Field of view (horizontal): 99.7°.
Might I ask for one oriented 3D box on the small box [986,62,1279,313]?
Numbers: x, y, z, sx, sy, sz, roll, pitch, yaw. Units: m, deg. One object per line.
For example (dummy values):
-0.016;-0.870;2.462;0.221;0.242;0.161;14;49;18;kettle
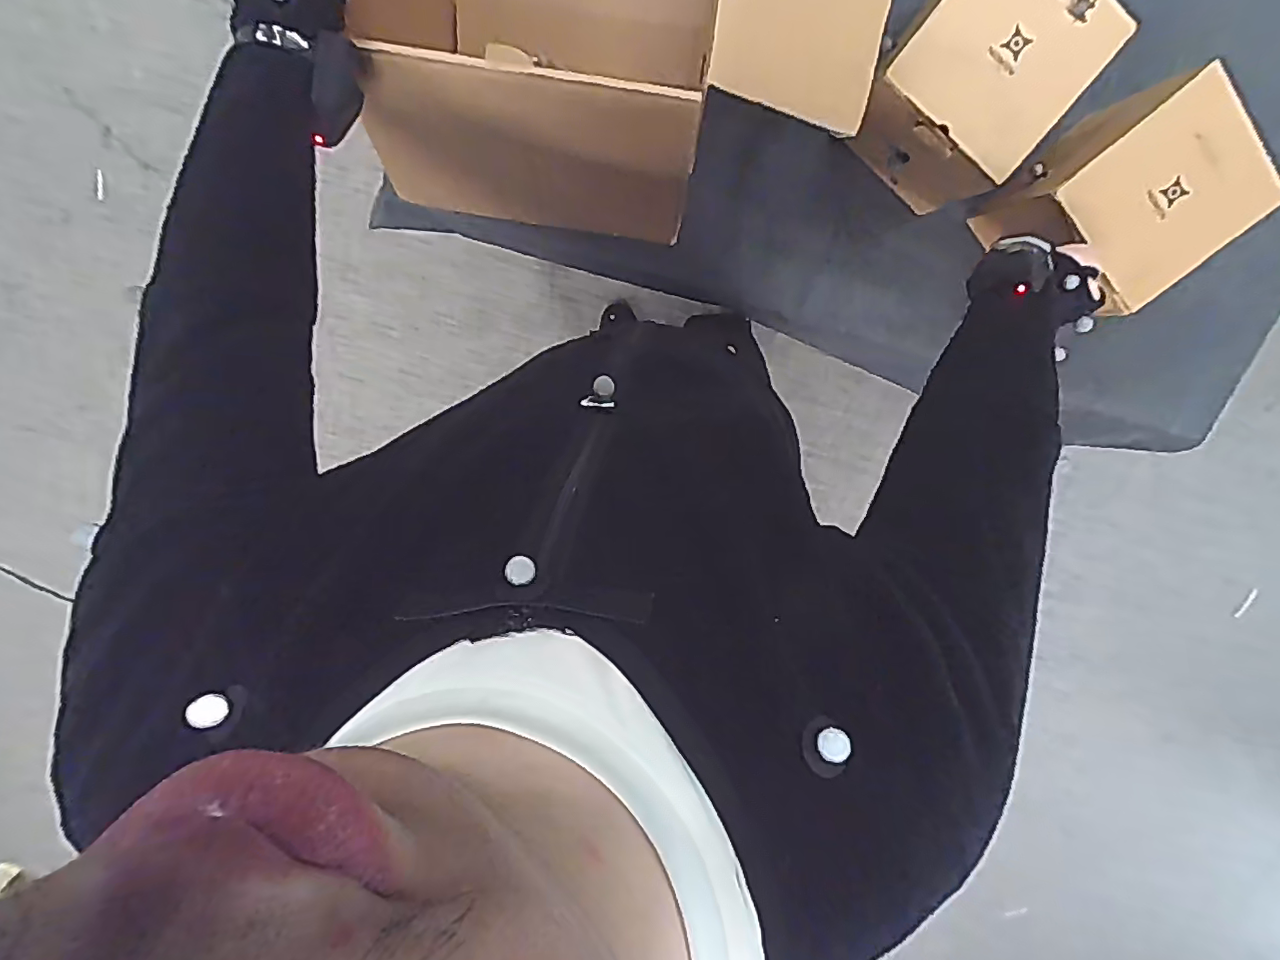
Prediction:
0.547;-0.314;0.628;0.179;0.176;0.168;-42;102;12;small box
